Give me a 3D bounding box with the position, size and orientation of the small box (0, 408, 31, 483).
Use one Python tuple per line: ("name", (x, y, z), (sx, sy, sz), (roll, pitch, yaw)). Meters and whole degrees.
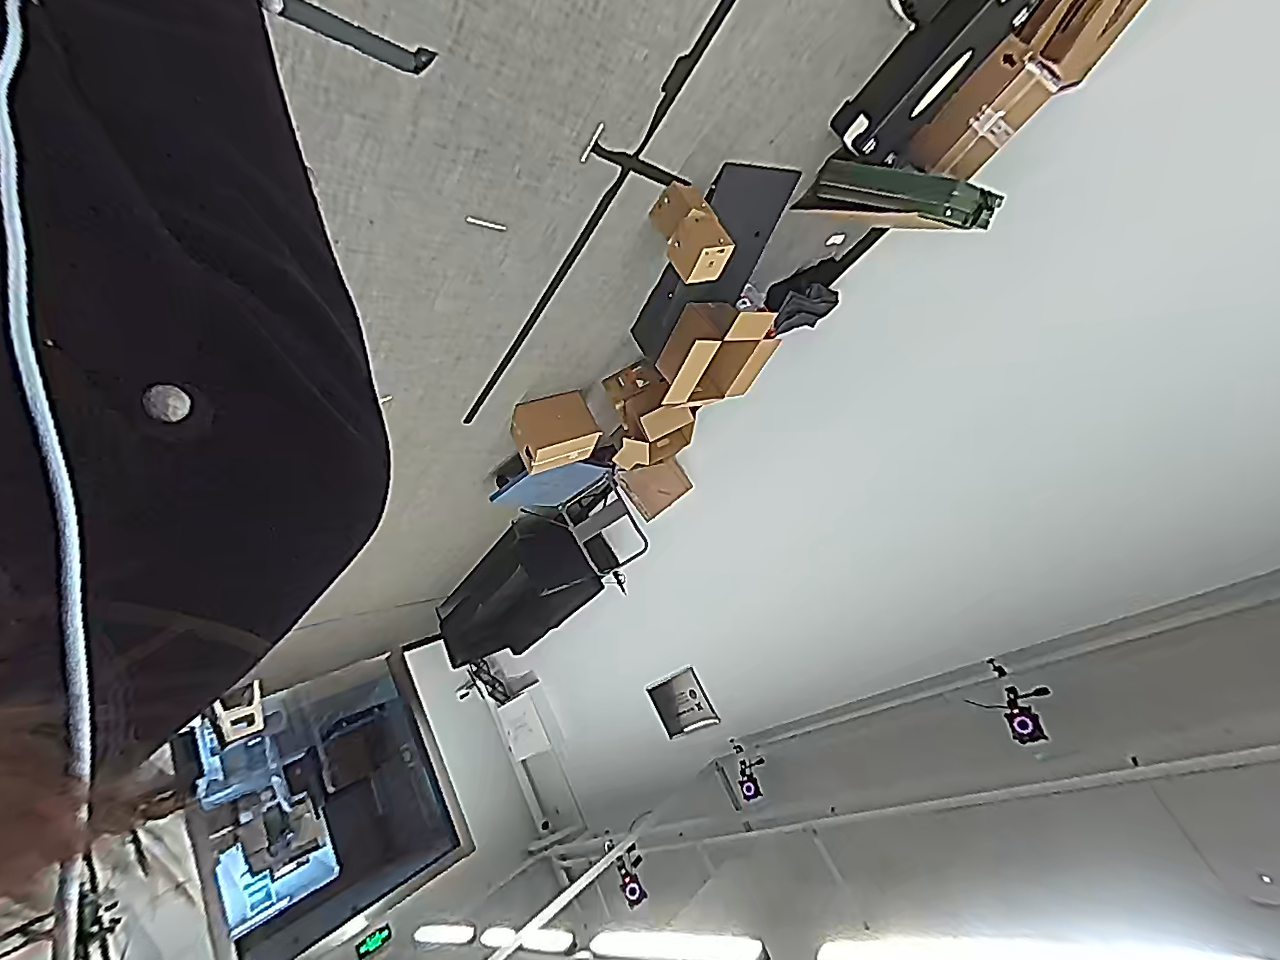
("small box", (-1.960, -0.103, 1.608), (0.168, 0.176, 0.179), (-39, 162, 32))
